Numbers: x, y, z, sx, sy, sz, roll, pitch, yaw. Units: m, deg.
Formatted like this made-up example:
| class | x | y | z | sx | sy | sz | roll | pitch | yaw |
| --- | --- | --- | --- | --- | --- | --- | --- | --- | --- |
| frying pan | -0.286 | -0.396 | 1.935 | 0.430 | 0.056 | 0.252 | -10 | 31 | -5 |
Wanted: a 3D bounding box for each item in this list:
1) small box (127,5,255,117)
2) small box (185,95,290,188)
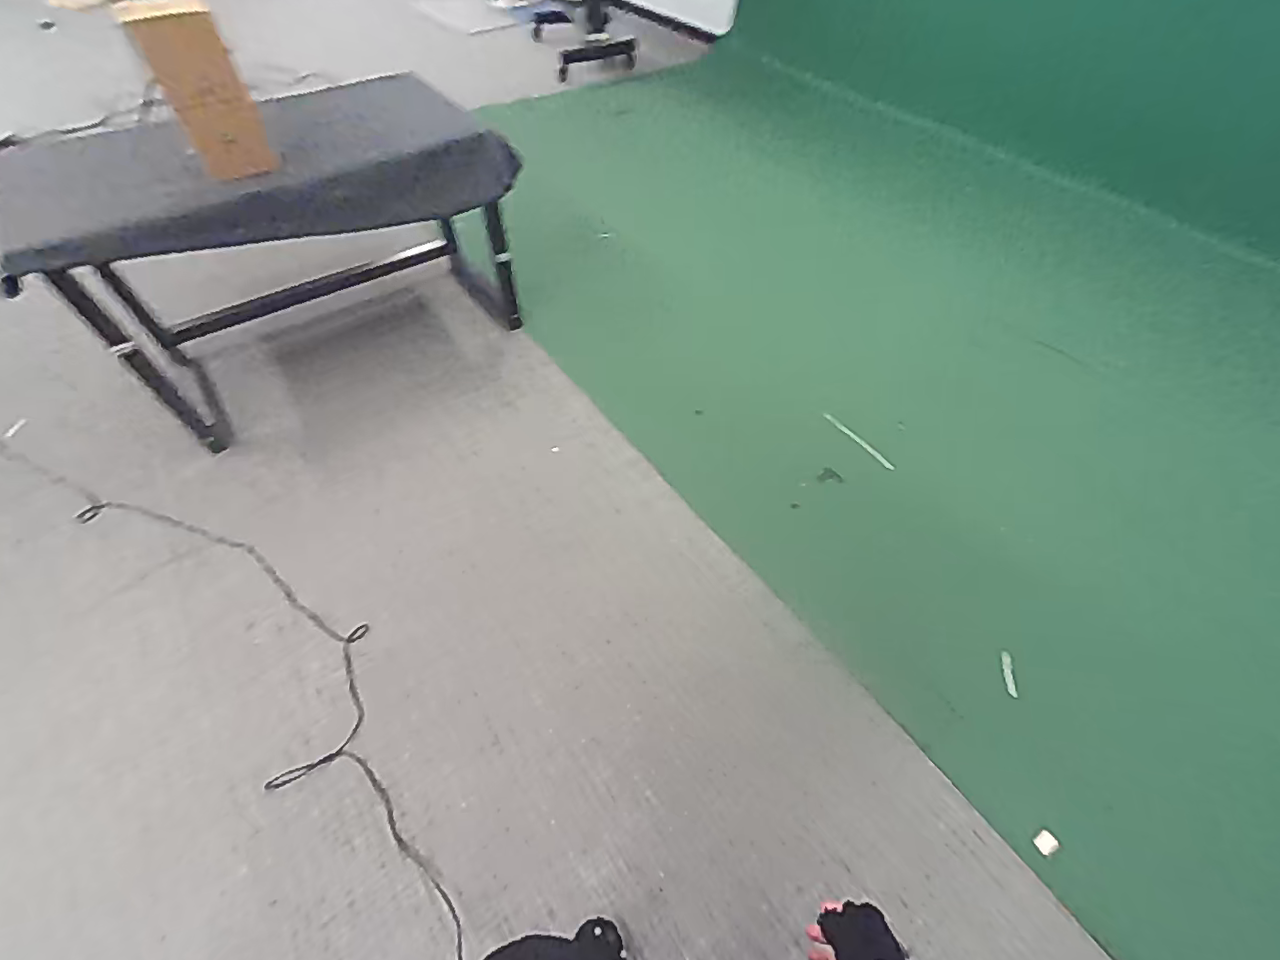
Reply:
| class | x | y | z | sx | sy | sz | roll | pitch | yaw |
| --- | --- | --- | --- | --- | --- | --- | --- | --- | --- |
| small box | -1.061 | -1.002 | 1.295 | 0.179 | 0.176 | 0.168 | -30 | 58 | -22 |
| small box | -1.059 | -0.901 | 1.423 | 0.179 | 0.176 | 0.168 | -32 | 60 | -24 |
